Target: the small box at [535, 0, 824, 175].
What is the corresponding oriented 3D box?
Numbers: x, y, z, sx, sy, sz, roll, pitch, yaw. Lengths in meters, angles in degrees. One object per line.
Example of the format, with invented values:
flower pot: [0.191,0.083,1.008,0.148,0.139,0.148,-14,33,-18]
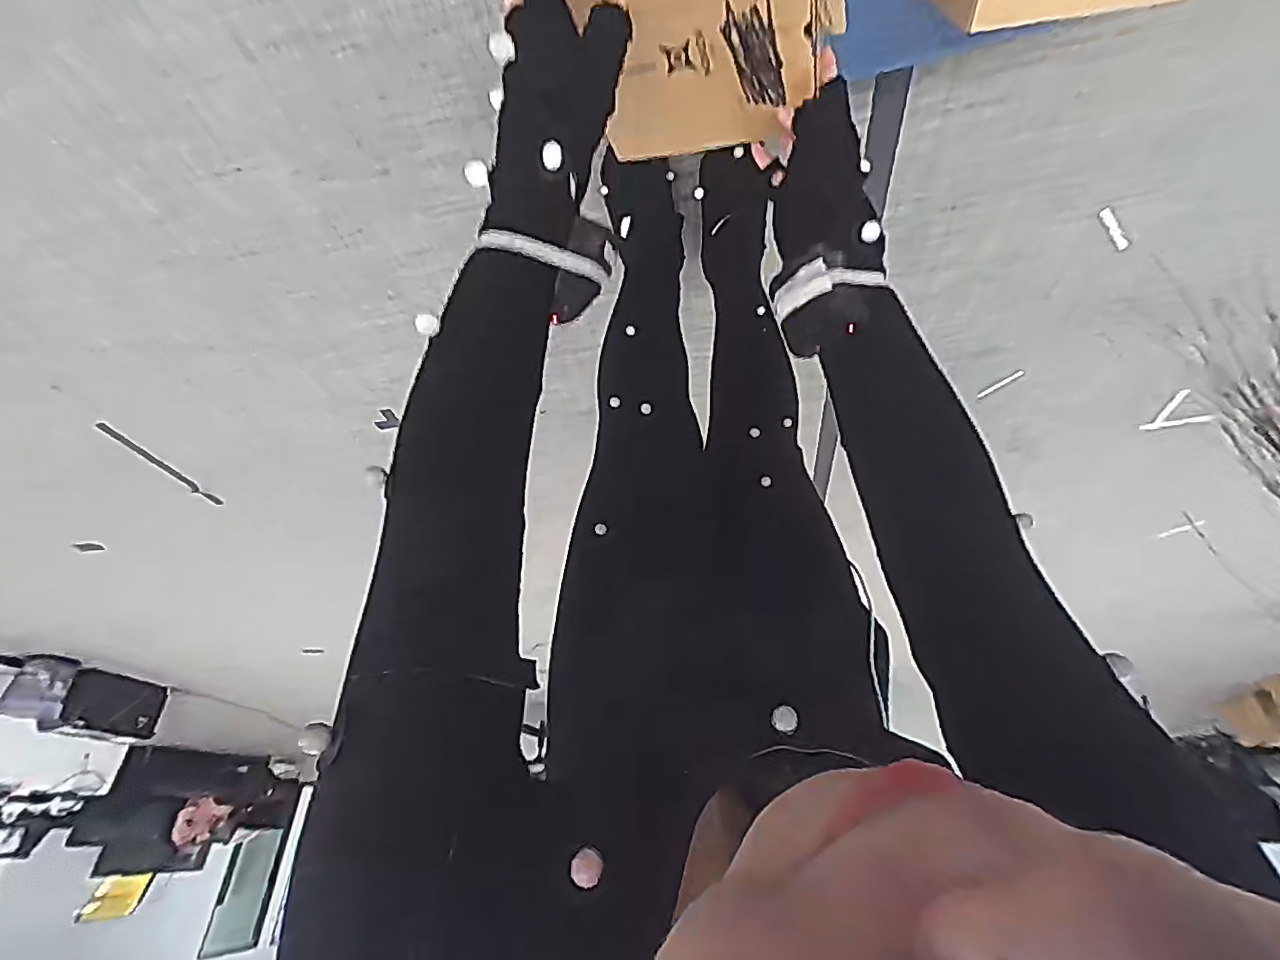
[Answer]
small box: [0.045,-0.371,0.406,0.179,0.176,0.168,3,170,21]
